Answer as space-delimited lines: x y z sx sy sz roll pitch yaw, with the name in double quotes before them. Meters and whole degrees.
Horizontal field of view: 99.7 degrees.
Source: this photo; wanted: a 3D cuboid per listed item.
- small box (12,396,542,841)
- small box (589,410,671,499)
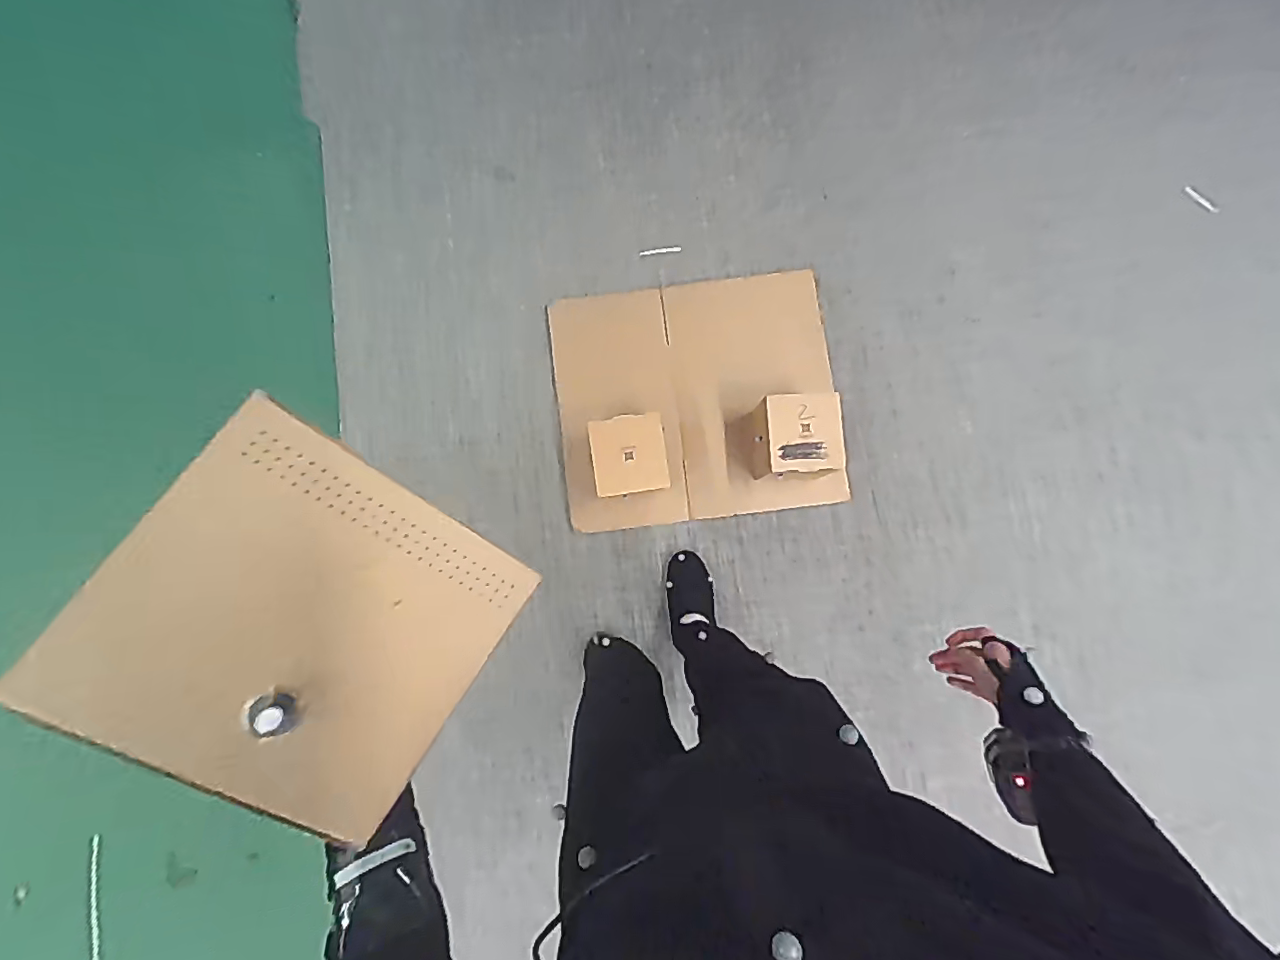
"small box" -0.188 0.072 0.343 0.179 0.168 0.176 38 75 -18
"small box" -0.020 -0.052 1.269 0.168 0.176 0.179 -9 83 0
